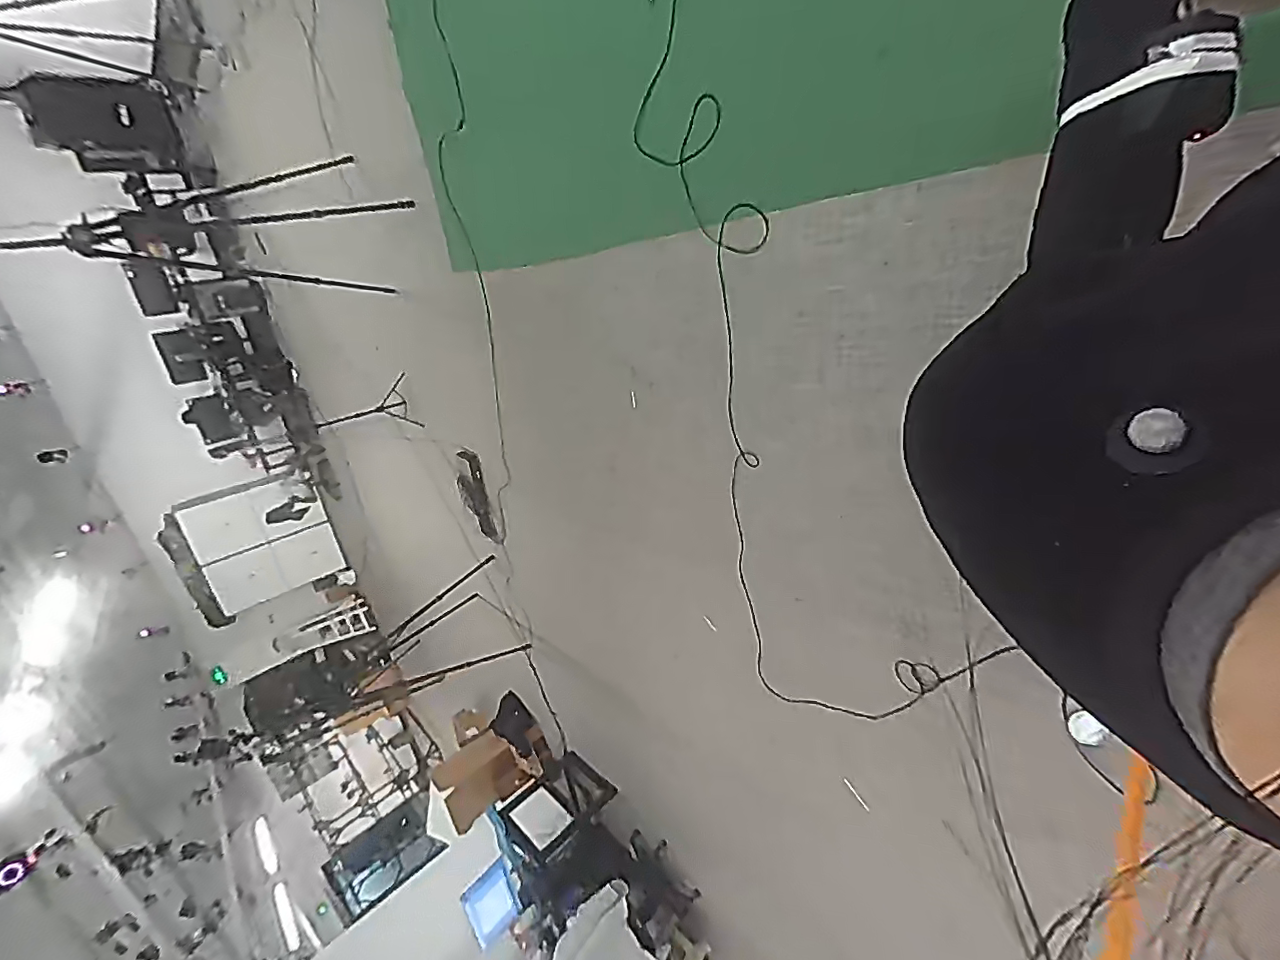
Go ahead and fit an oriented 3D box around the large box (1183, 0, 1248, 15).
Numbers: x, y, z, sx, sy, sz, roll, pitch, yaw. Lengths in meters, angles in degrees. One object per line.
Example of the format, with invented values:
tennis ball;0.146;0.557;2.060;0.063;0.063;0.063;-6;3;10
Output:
large box;0.568;-0.508;0.260;0.408;0.320;0.320;9;123;42
